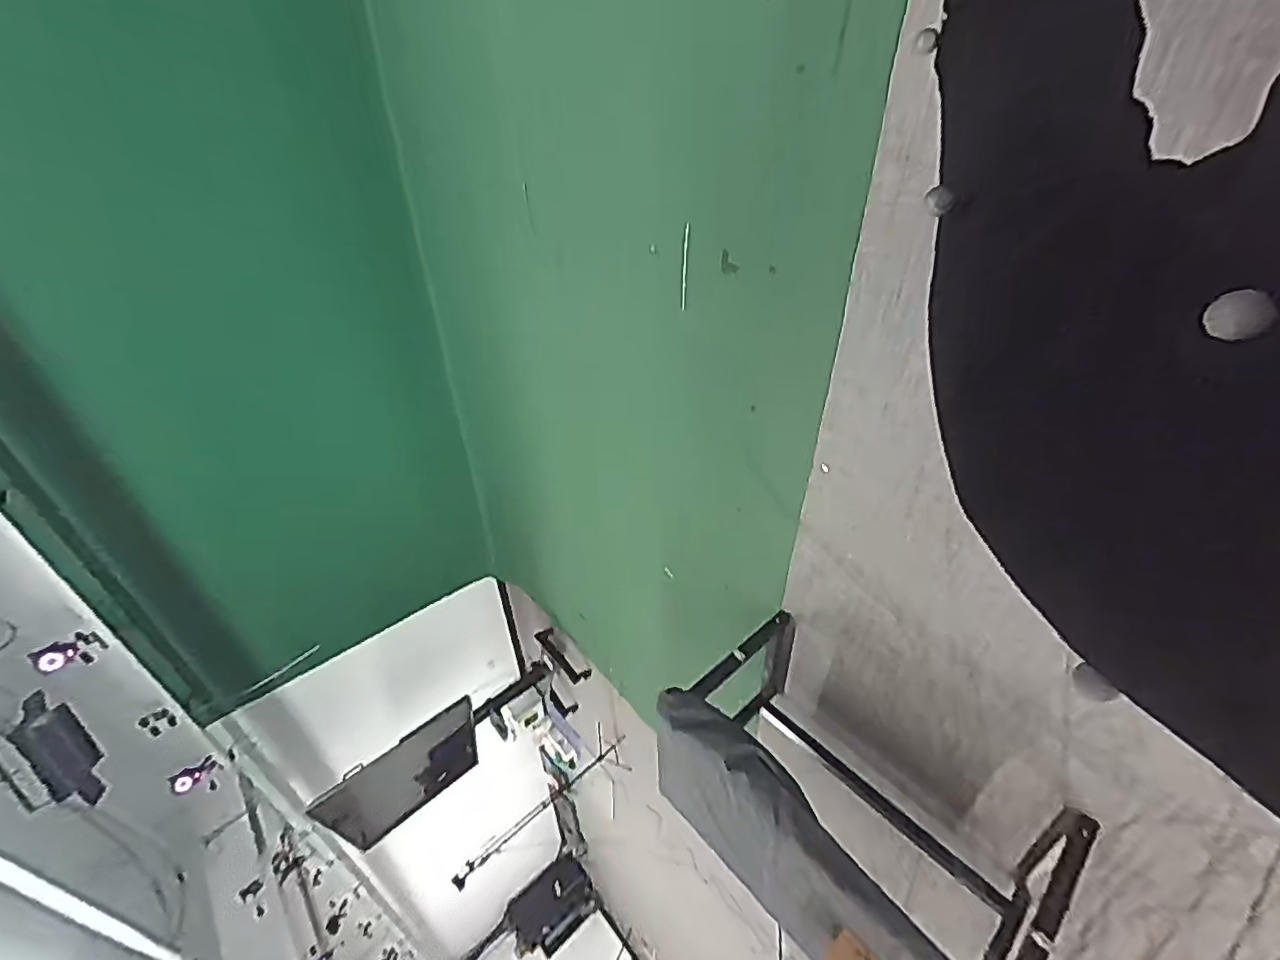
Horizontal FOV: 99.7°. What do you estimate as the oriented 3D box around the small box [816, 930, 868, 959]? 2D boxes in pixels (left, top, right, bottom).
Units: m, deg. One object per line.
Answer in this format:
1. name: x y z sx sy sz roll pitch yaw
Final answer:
1. small box: 0.569 1.432 1.520 0.168 0.176 0.179 31 135 38
